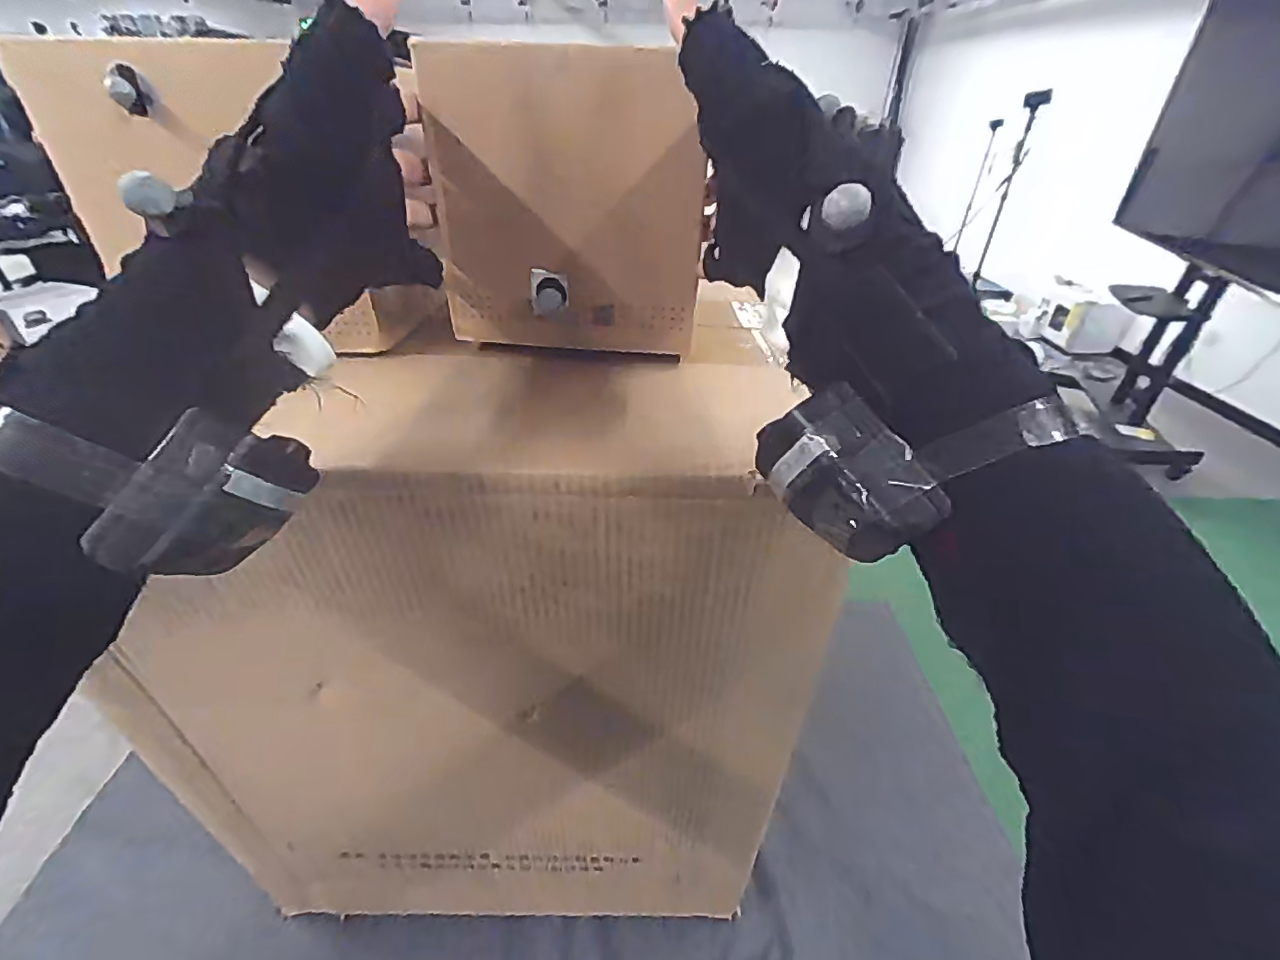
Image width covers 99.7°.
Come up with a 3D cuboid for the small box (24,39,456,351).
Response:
[{"bbox_3d":[-0.249,-0.205,0.400,0.168,0.176,0.179,0,33,1],"label":"small box"}]
